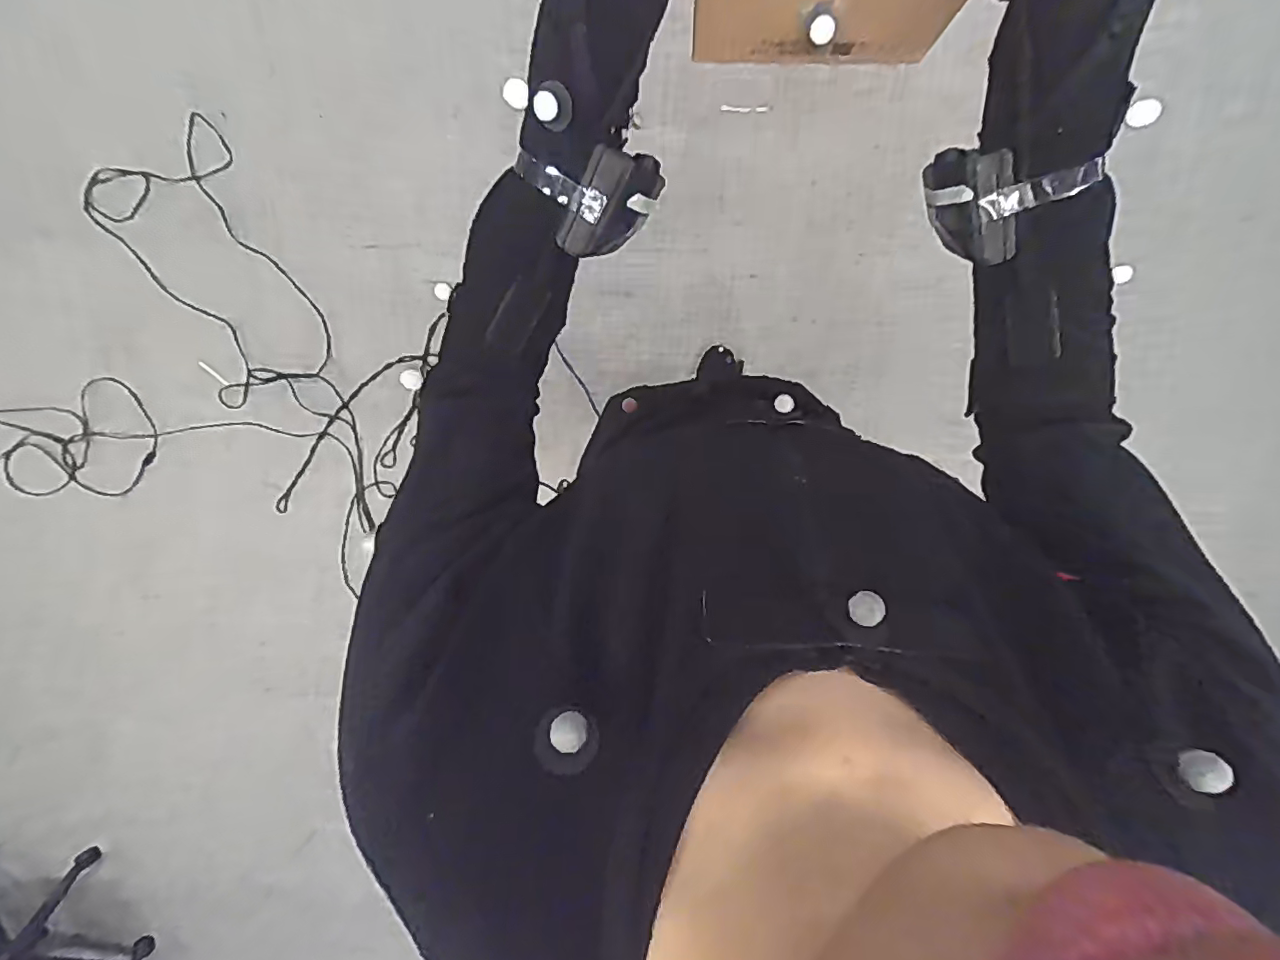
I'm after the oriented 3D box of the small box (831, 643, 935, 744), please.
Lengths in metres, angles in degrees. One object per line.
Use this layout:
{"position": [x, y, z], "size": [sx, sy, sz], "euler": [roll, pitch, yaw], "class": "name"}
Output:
{"position": [0.563, 0.496, 1.273], "size": [0.179, 0.176, 0.168], "euler": [-2, 99, 1], "class": "small box"}
